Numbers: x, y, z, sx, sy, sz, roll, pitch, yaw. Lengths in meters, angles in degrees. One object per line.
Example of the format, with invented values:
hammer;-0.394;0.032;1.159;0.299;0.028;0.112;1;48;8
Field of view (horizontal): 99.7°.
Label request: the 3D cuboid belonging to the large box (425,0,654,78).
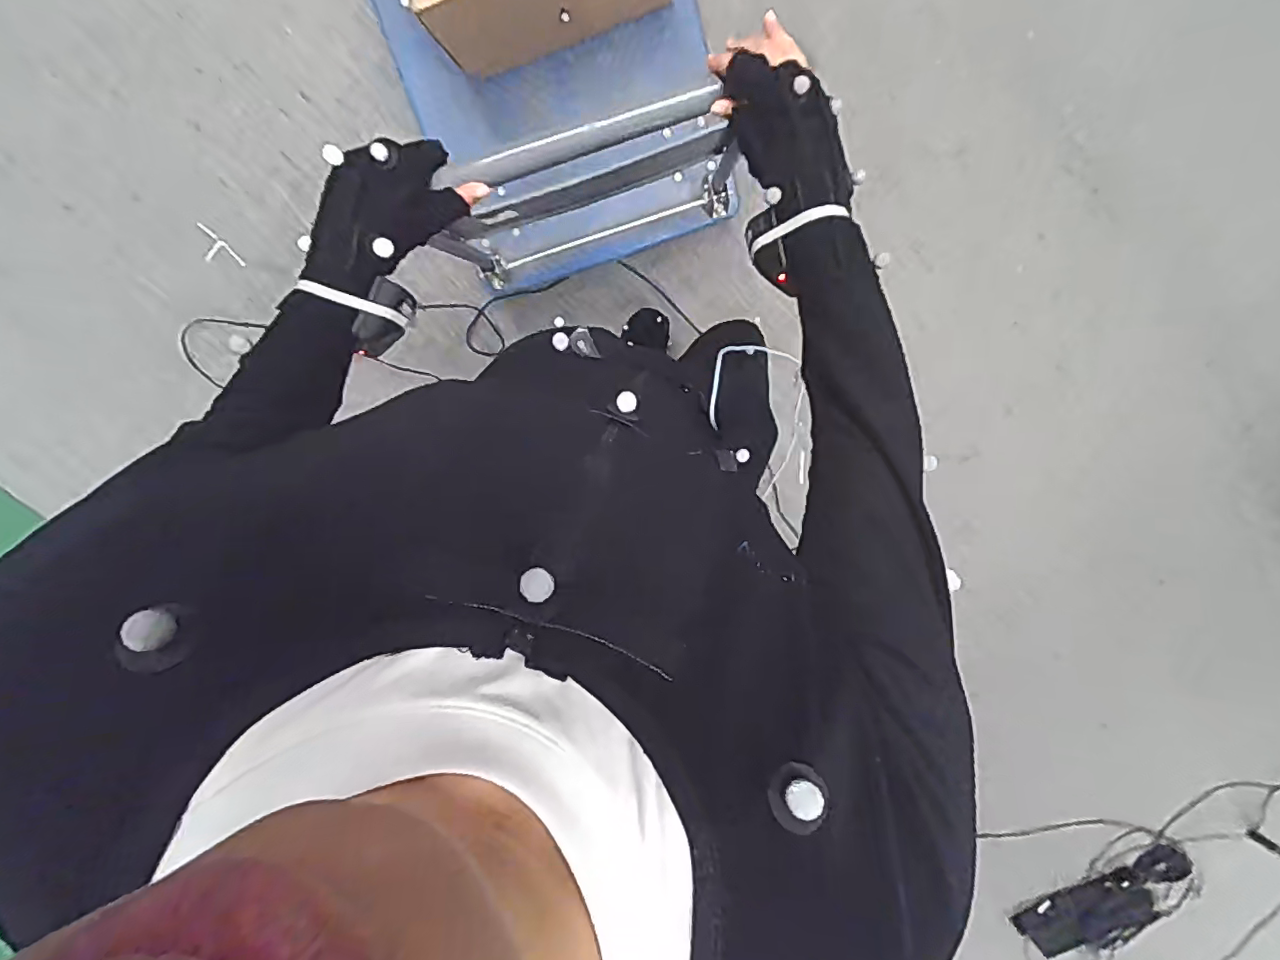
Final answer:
large box;-0.163;-0.913;0.830;0.408;0.320;0.320;-19;109;8
